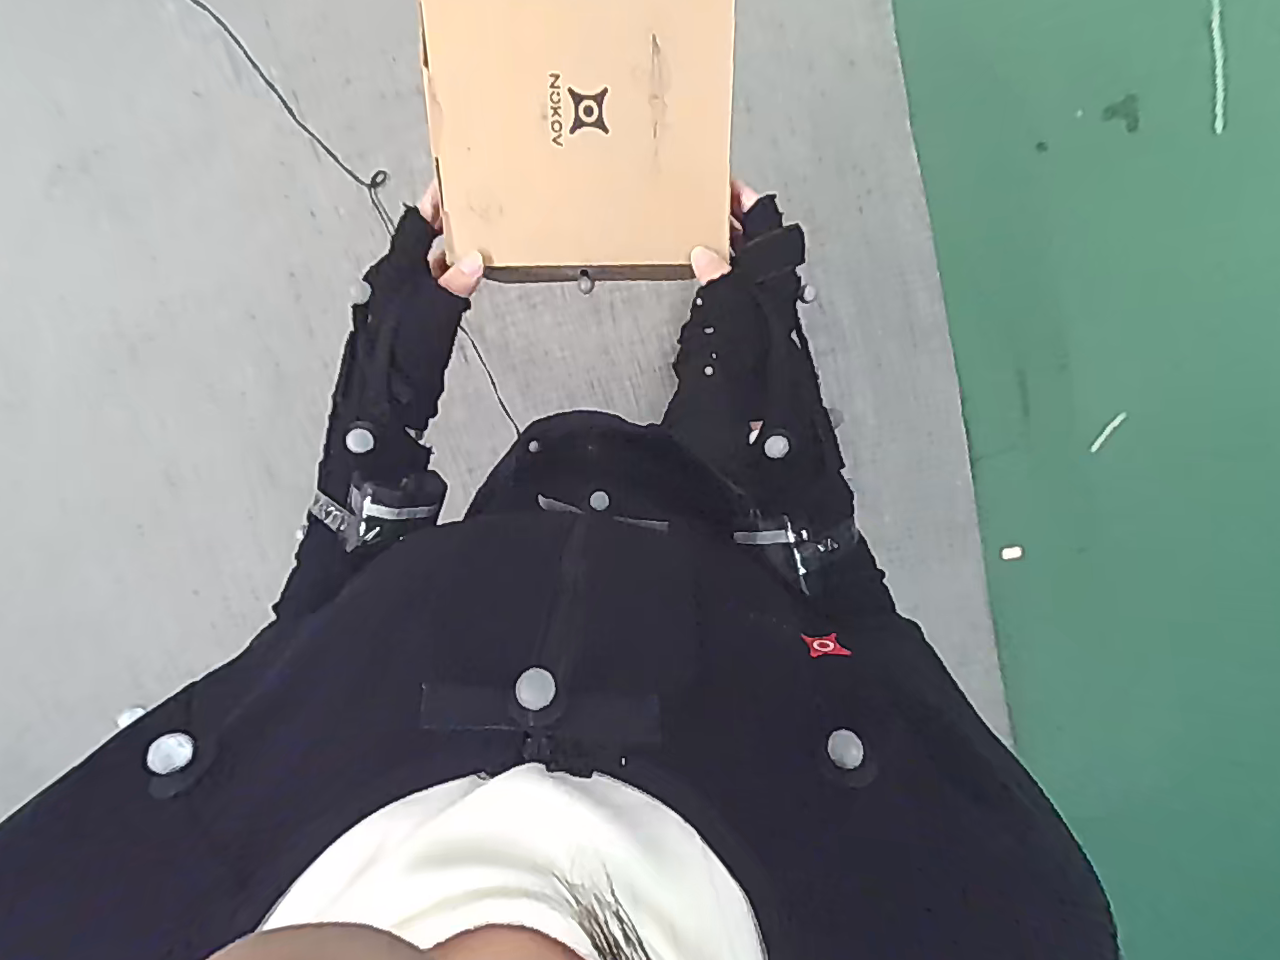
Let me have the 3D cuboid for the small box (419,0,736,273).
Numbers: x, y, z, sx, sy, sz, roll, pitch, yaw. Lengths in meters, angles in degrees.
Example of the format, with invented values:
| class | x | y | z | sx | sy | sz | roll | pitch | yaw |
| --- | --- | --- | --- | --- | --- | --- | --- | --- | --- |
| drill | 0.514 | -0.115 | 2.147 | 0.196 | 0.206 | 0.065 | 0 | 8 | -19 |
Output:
| class | x | y | z | sx | sy | sz | roll | pitch | yaw |
| --- | --- | --- | --- | --- | --- | --- | --- | --- | --- |
| small box | -0.033 | -0.242 | 0.384 | 0.179 | 0.176 | 0.168 | -3 | 108 | -1 |
